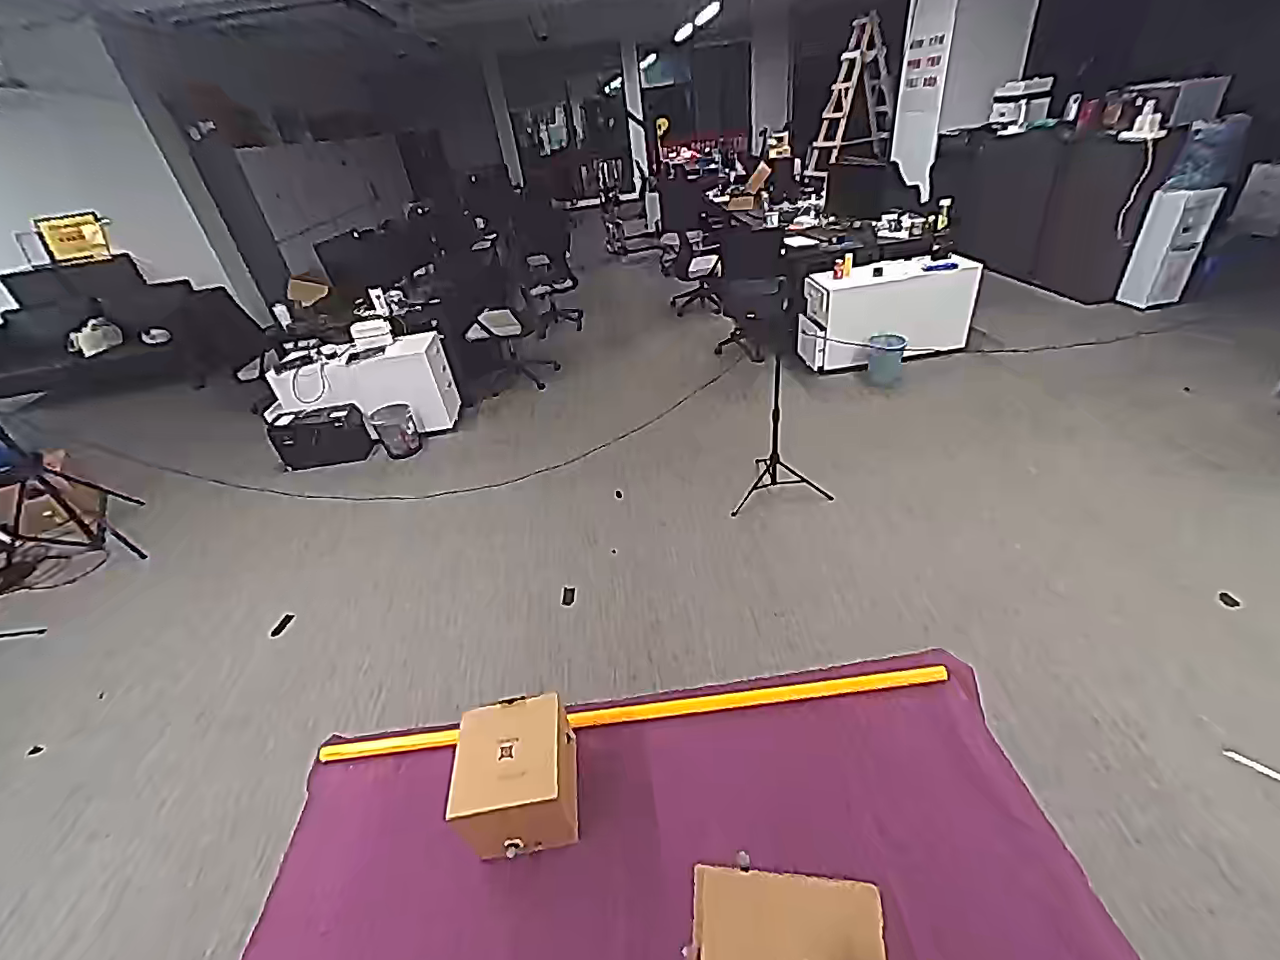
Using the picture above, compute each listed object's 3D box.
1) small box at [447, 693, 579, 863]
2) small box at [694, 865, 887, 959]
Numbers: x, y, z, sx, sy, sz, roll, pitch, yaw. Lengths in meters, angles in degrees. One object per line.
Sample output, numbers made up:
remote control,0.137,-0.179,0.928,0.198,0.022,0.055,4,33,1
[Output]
small box,-0.198,0.489,0.892,0.168,0.176,0.179,-10,35,-1
small box,0.145,0.509,0.560,0.179,0.176,0.168,3,56,5
